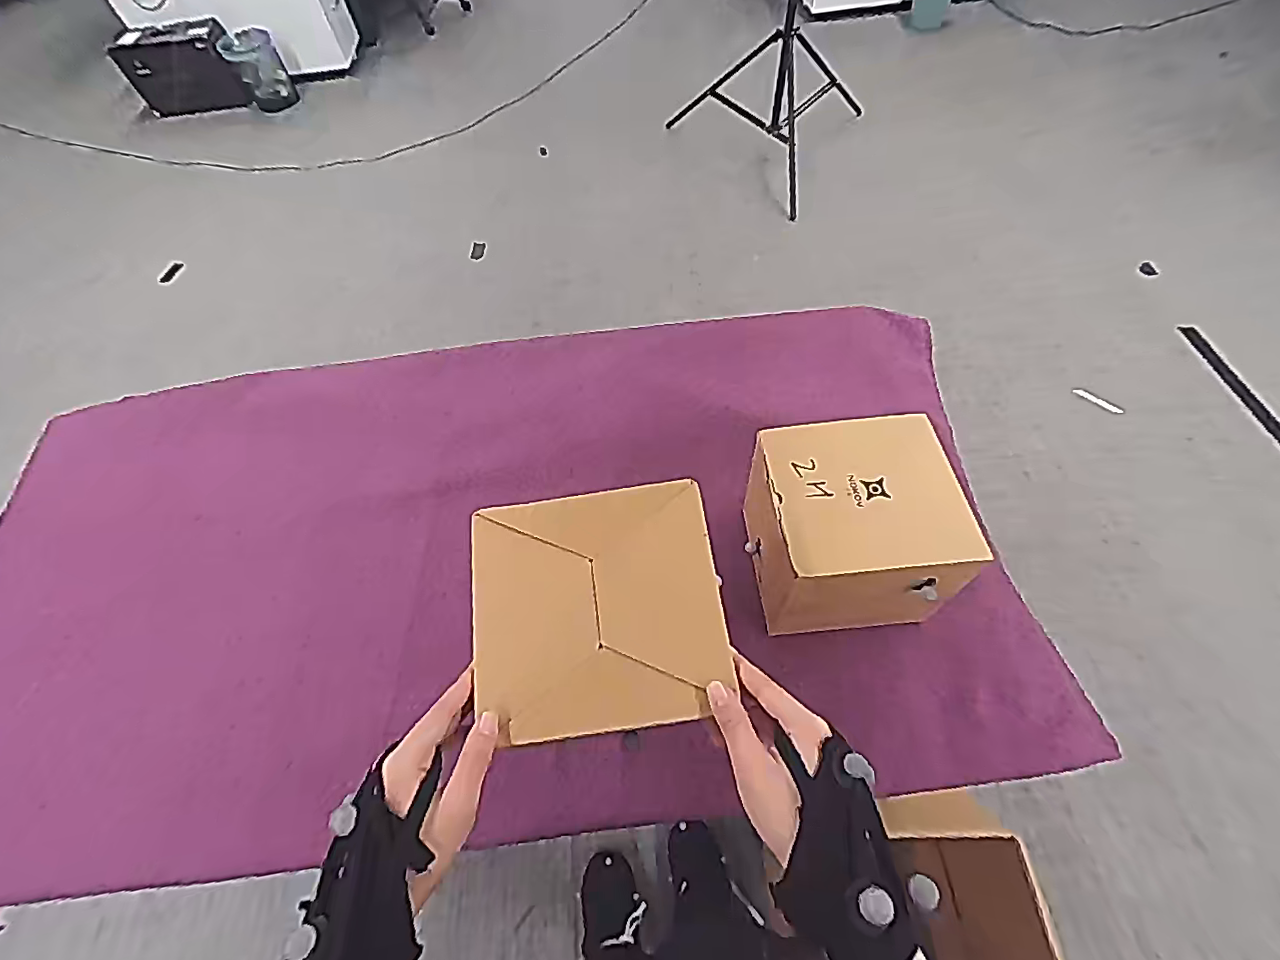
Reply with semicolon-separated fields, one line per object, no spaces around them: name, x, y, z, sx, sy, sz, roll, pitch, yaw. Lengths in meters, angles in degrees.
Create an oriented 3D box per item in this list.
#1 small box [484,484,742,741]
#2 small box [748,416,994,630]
small box;-0.025;0.117;0.457;0.179;0.176;0.168;-8;65;-1
small box;0.224;0.052;0.581;0.179;0.176;0.168;-5;56;1
